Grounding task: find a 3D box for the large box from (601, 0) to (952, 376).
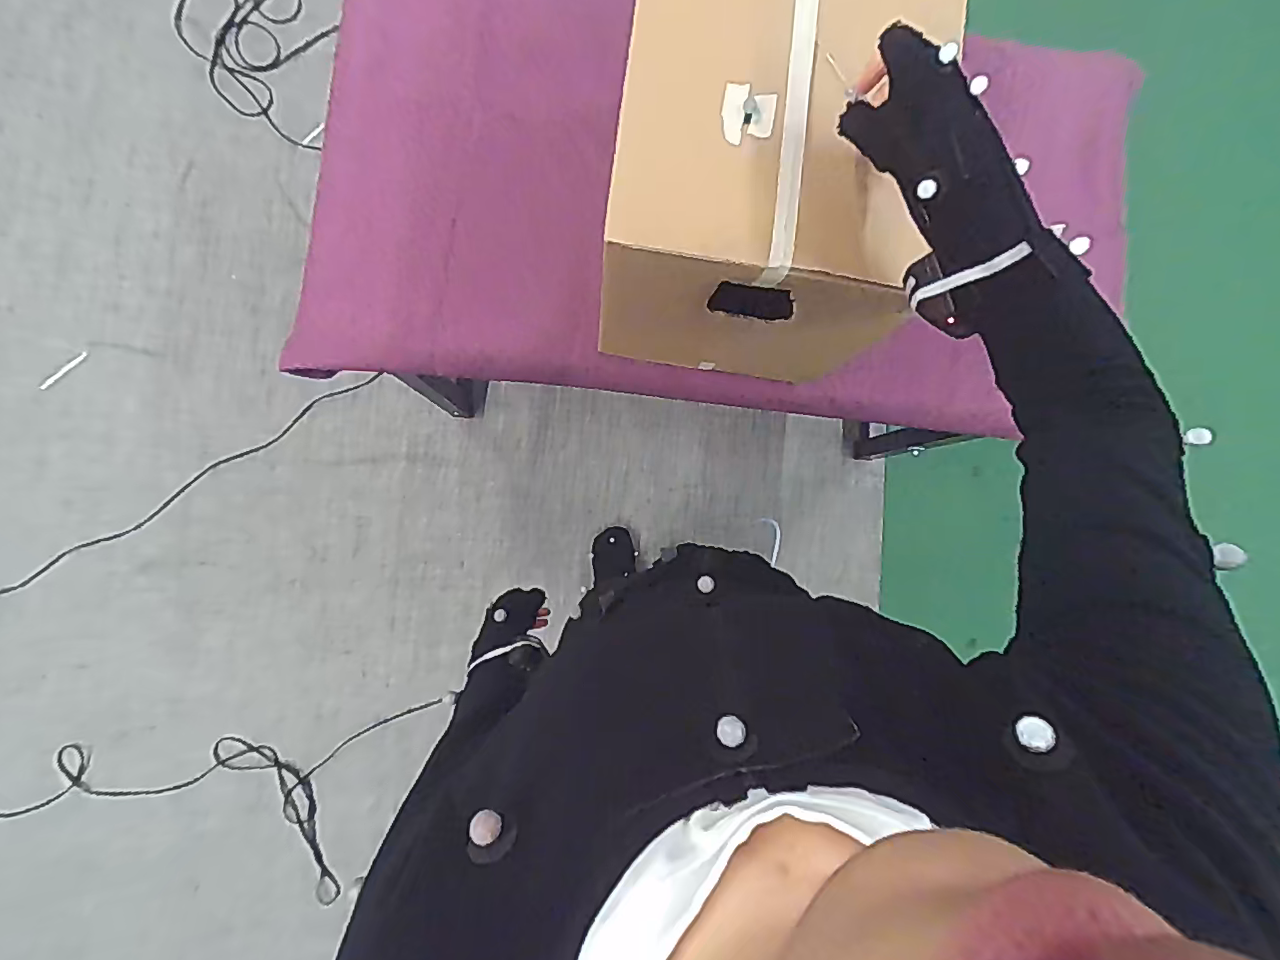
[{"bbox_3d":[0.131,-0.379,0.662,0.320,0.320,0.408,8,86,-4],"label":"large box"}]
